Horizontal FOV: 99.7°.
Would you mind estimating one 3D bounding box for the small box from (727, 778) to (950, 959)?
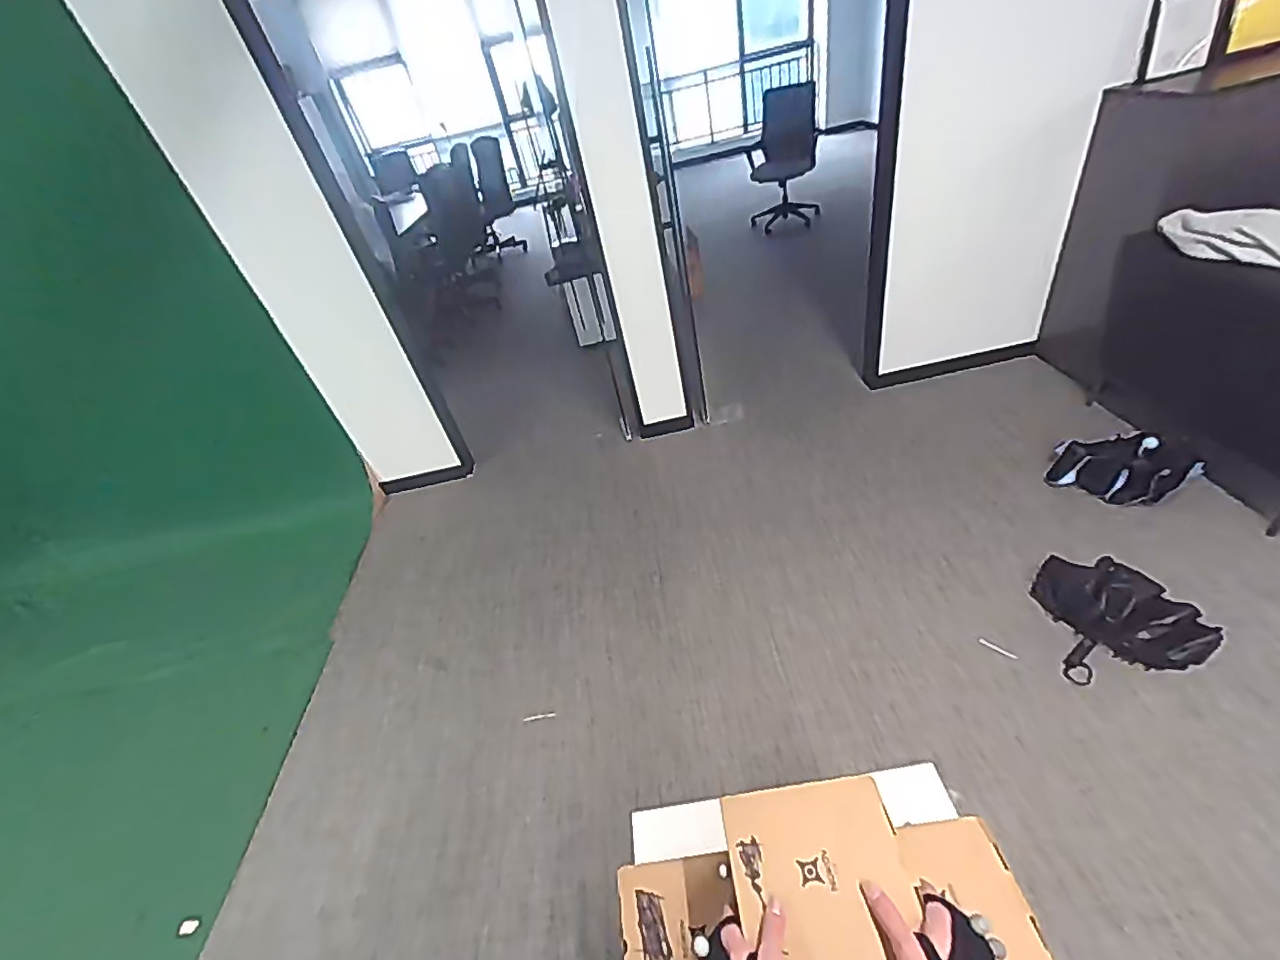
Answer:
[{"bbox_3d":[0.196,0.452,0.589,0.179,0.176,0.168,-9,39,2],"label":"small box"}]

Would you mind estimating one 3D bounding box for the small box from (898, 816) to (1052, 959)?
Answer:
[{"bbox_3d":[0.368,0.552,0.681,0.179,0.176,0.168,-11,38,4],"label":"small box"}]

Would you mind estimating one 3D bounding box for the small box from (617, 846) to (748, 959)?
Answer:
[{"bbox_3d":[0.073,0.602,0.695,0.179,0.176,0.168,-9,39,1],"label":"small box"}]
